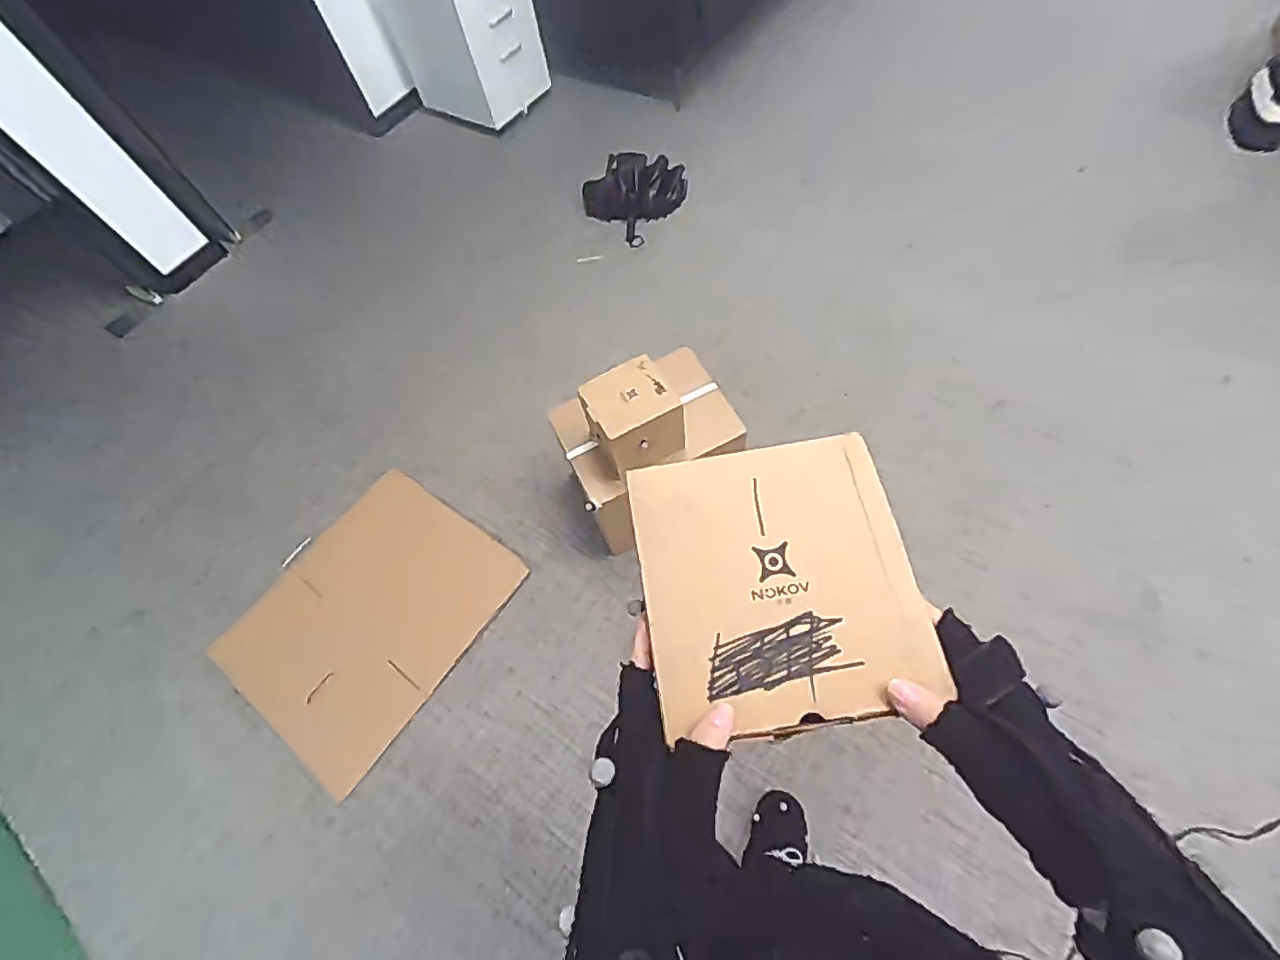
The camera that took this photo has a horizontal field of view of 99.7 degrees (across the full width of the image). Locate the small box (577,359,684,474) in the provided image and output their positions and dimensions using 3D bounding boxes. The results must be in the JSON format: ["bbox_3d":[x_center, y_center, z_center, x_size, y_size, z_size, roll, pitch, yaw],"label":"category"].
[{"bbox_3d":[-0.014,-0.130,1.219,0.179,0.176,0.168,-30,60,-10],"label":"small box"}]

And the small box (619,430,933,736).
[{"bbox_3d":[0.085,0.088,0.417,0.168,0.176,0.179,-10,65,1],"label":"small box"}]
